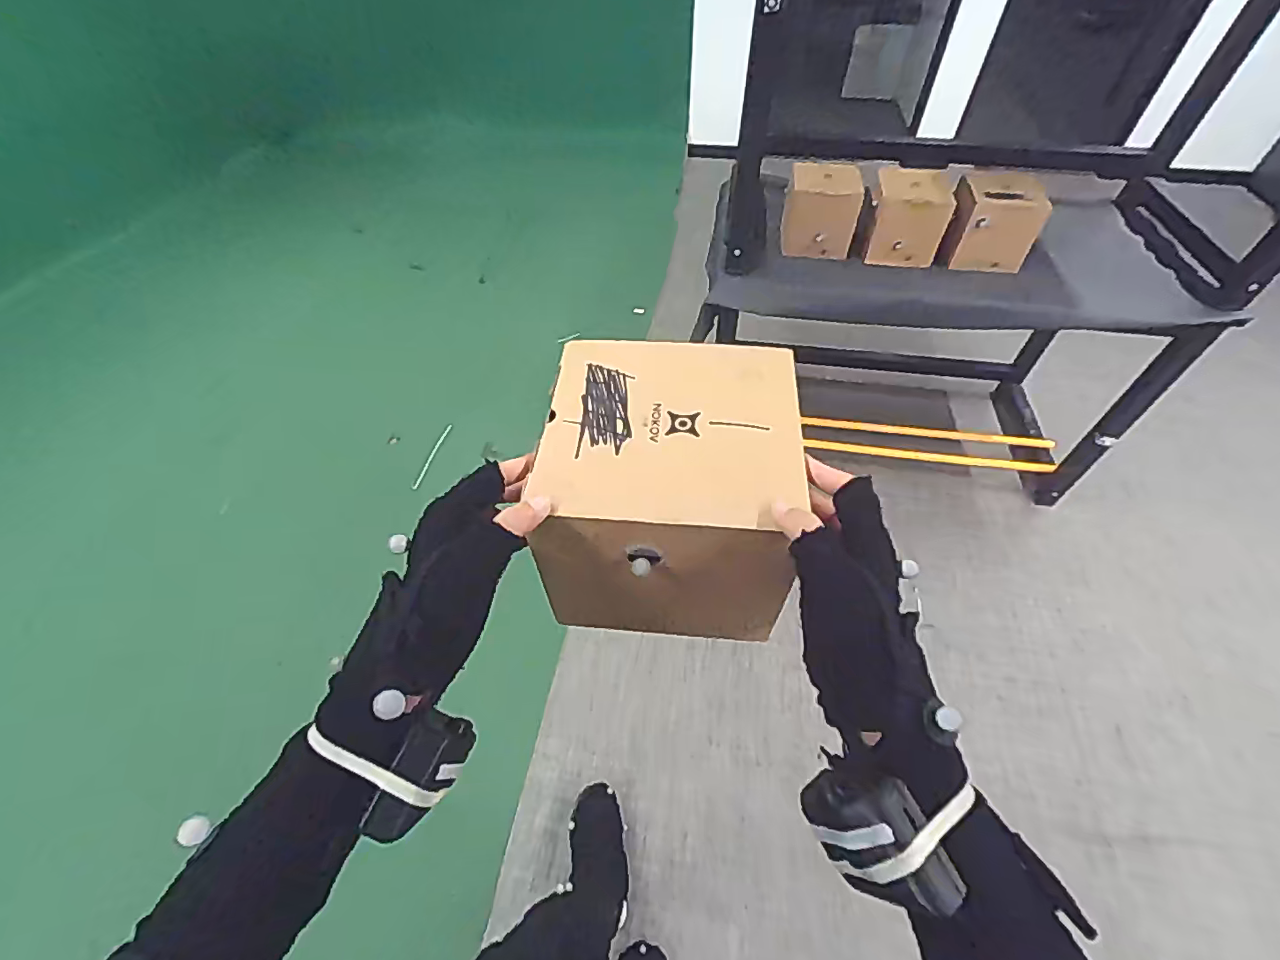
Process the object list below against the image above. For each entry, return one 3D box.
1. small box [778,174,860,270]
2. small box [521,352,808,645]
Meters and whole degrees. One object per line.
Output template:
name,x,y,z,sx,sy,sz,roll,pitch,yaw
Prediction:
small box,0.460,-0.674,1.416,0.168,0.176,0.179,6,50,6
small box,0.023,0.019,0.432,0.179,0.176,0.168,4,52,4
